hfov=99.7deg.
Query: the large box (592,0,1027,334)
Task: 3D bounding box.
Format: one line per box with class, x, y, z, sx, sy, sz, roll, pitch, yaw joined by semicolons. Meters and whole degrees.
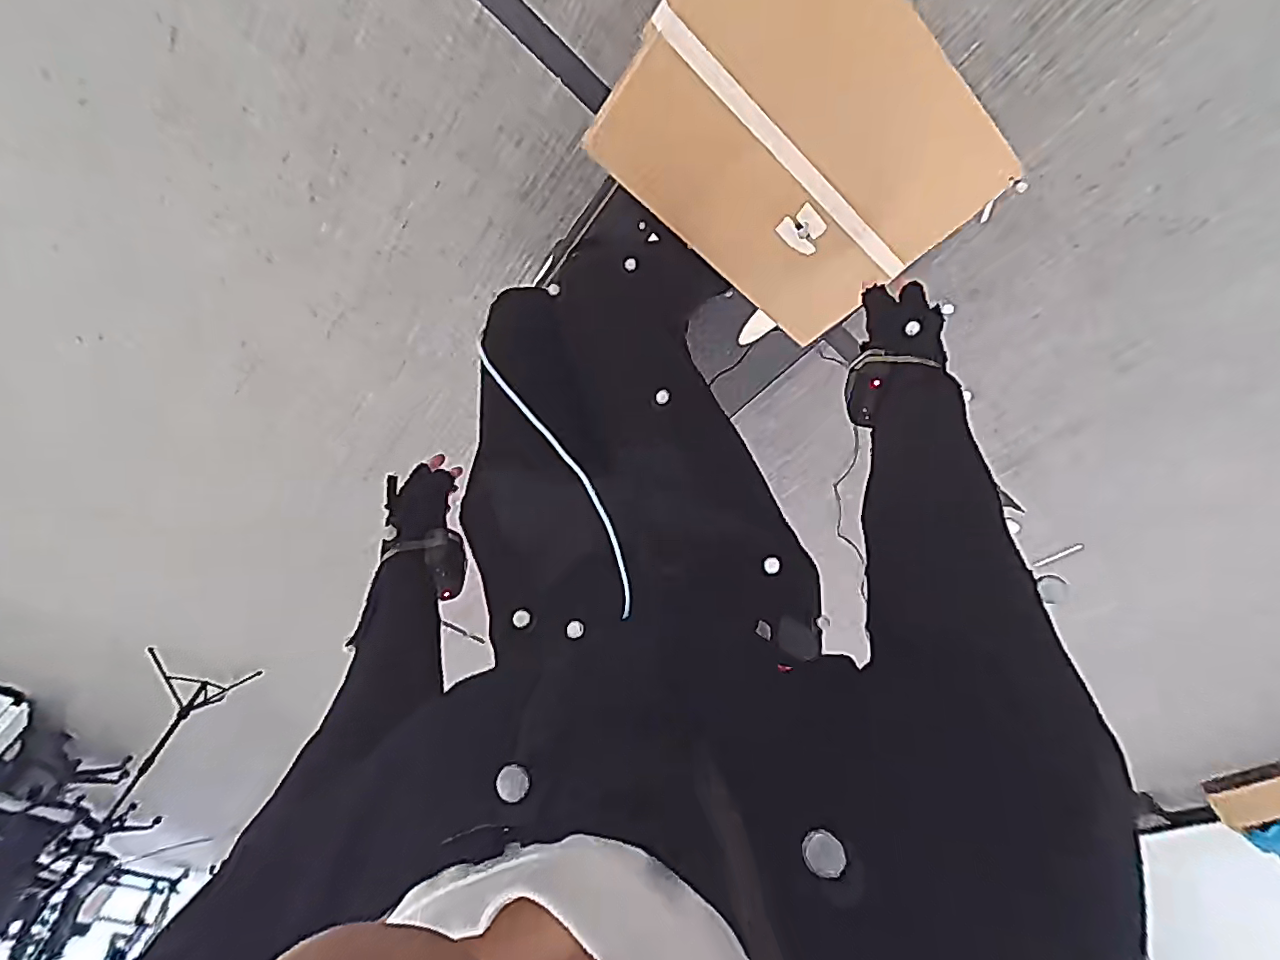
large box;0.203;-0.487;0.721;0.408;0.320;0.320;32;135;-23
